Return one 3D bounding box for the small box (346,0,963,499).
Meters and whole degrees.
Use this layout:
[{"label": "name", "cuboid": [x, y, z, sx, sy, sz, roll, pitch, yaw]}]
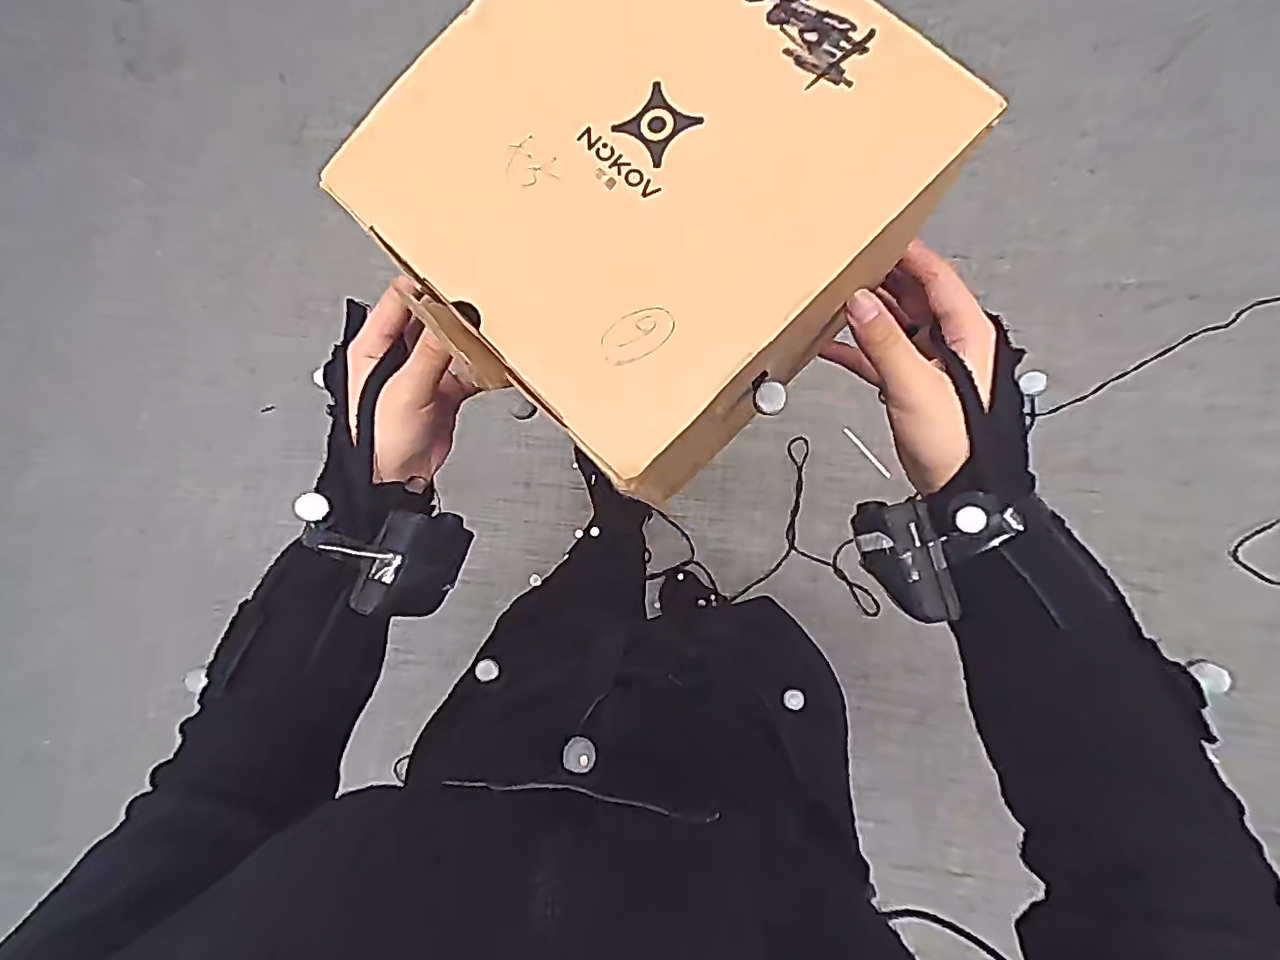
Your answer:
[{"label": "small box", "cuboid": [0.008, -0.105, 0.278, 0.179, 0.176, 0.168, -45, 82, 1]}]
